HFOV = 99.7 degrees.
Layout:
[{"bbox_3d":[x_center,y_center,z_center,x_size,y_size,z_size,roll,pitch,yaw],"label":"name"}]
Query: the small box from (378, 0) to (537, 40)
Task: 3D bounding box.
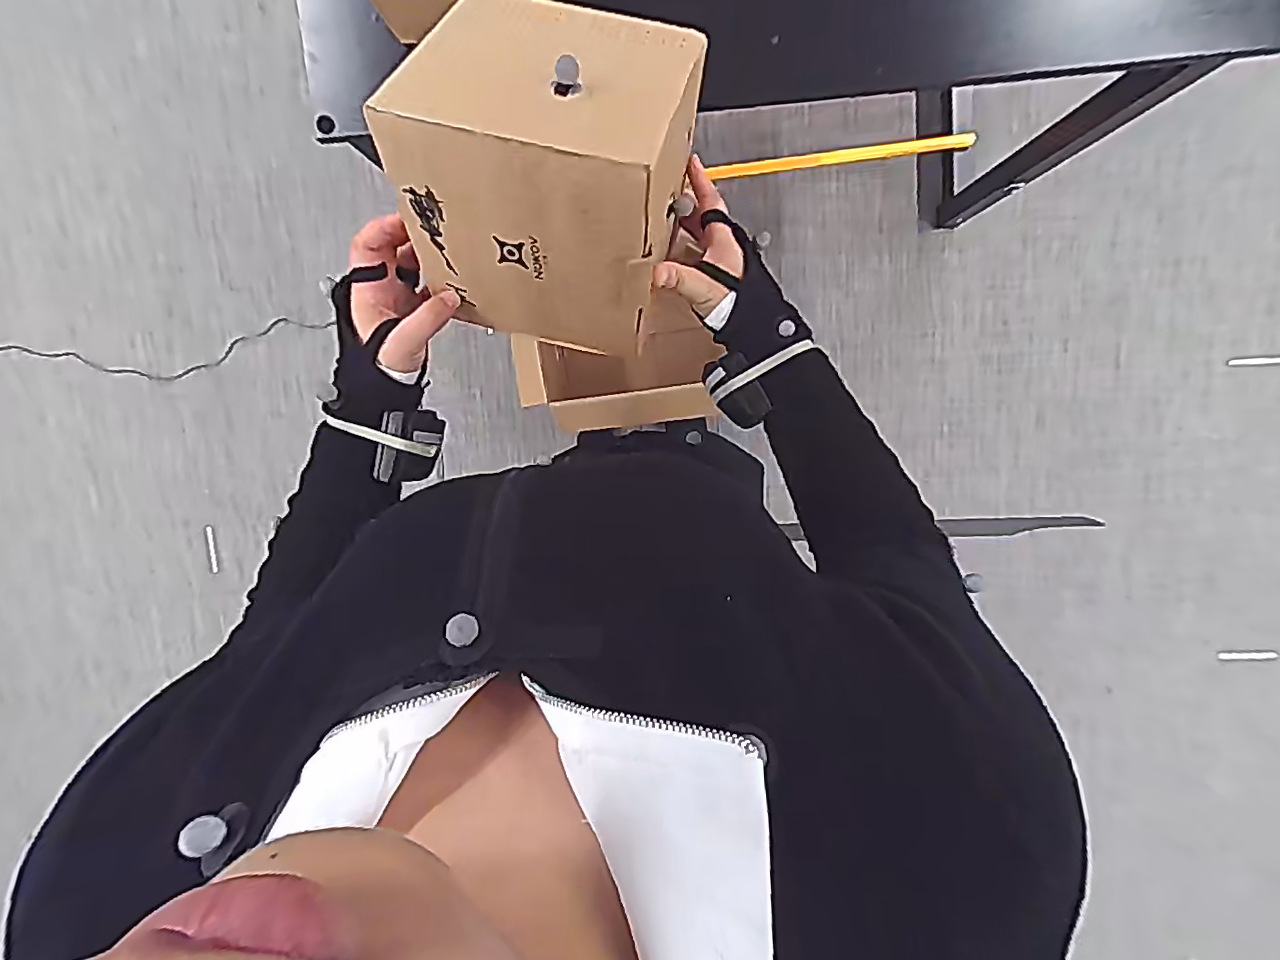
[{"bbox_3d":[-0.221,-0.621,0.588,0.179,0.176,0.168,-3,99,1],"label":"small box"}]
